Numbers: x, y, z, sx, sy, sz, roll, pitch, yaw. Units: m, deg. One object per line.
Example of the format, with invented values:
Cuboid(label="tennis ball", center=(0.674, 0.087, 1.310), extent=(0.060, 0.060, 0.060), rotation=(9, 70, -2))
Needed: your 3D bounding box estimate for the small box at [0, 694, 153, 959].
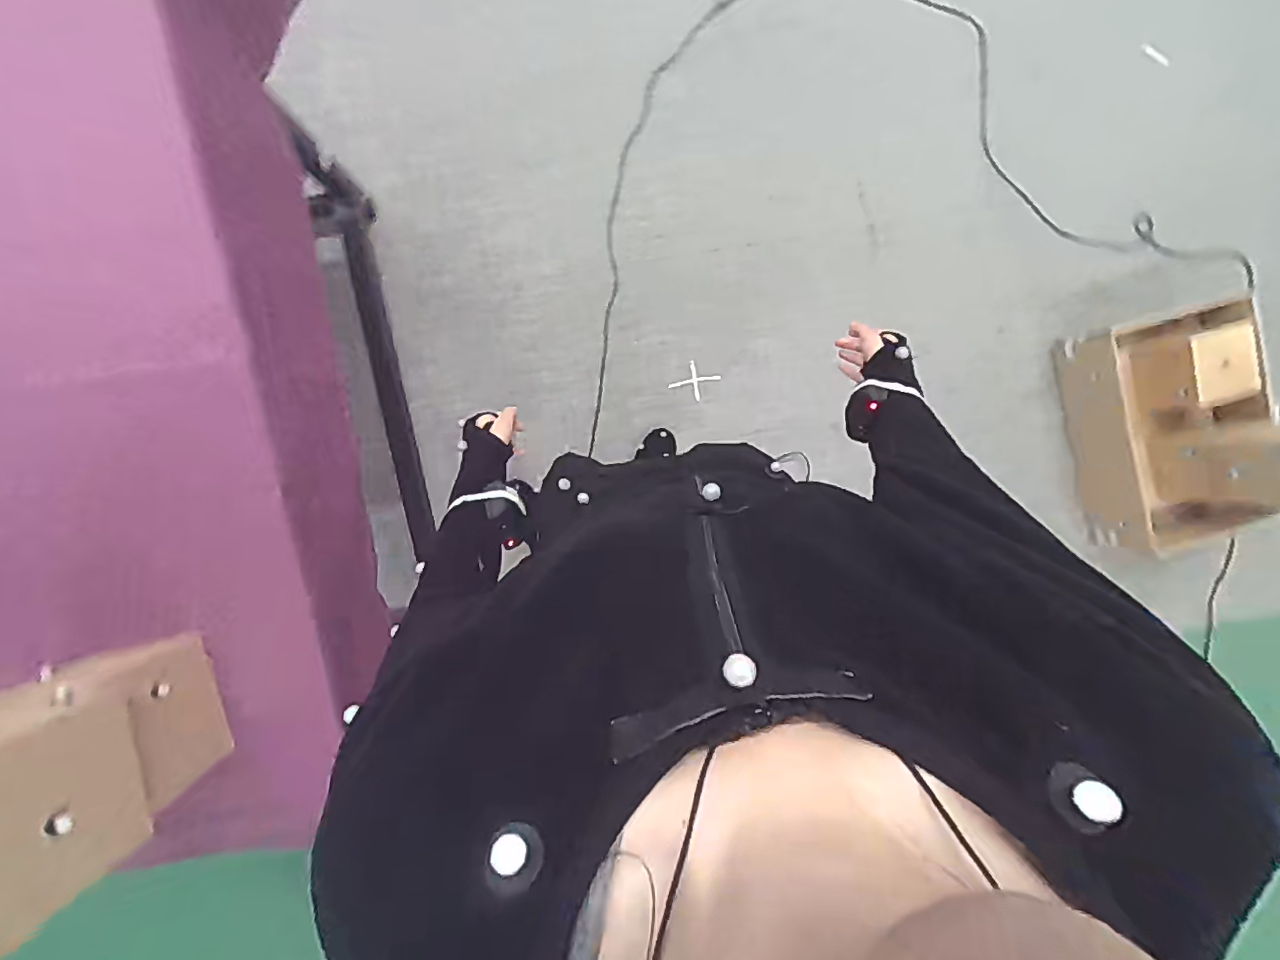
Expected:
Cuboid(label="small box", center=(-0.633, 0.326, 0.521), extent=(0.168, 0.176, 0.179), rotation=(-8, 96, -2))

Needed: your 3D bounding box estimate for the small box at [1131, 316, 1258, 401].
Cuboid(label="small box", center=(1.456, -0.314, 1.431), extent=(0.168, 0.176, 0.179), rotation=(-16, 98, -1))

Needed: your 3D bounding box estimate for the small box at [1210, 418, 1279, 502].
Cuboid(label="small box", center=(1.542, -0.053, 1.294), extent=(0.179, 0.176, 0.168), rotation=(-15, 95, -1))

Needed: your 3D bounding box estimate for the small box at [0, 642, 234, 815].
Cuboid(label="small box", center=(-0.669, 0.322, 0.683), extent=(0.168, 0.176, 0.179), rotation=(-13, 96, -2))
